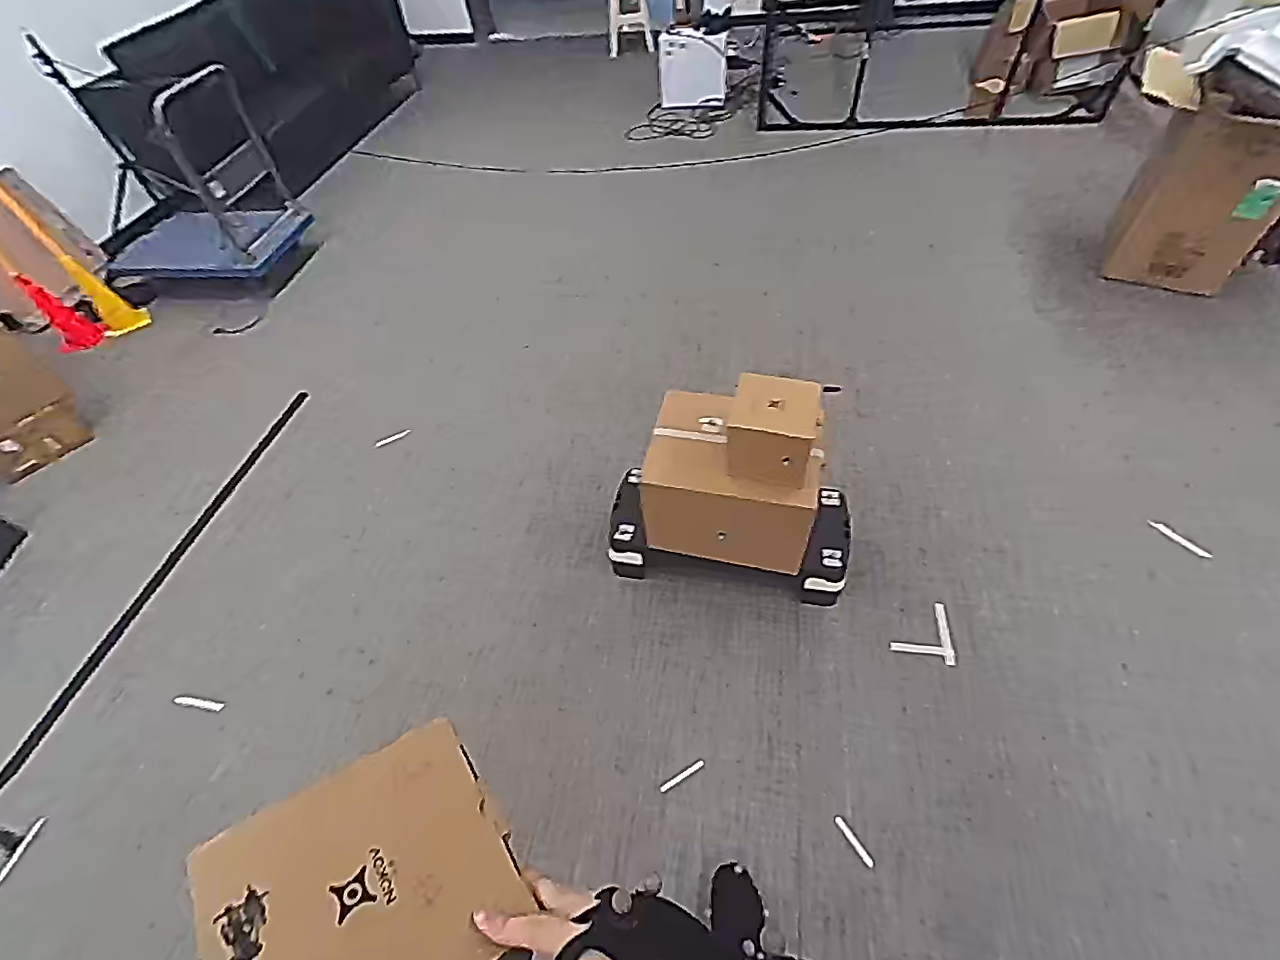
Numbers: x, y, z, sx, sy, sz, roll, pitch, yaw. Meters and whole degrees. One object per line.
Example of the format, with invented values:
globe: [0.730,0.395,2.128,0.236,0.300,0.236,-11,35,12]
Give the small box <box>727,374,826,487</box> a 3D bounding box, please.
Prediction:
small box: [0.294,-0.103,1.178,0.179,0.176,0.168,11,55,15]

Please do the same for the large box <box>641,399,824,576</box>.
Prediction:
large box: [0.245,0.019,1.401,0.408,0.320,0.320,8,53,14]

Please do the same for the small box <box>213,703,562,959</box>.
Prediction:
small box: [-0.180,0.310,0.403,0.179,0.176,0.168,-18,49,-33]

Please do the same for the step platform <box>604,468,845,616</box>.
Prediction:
step platform: [0.240,0.166,1.591,0.684,0.204,0.286,10,54,15]
